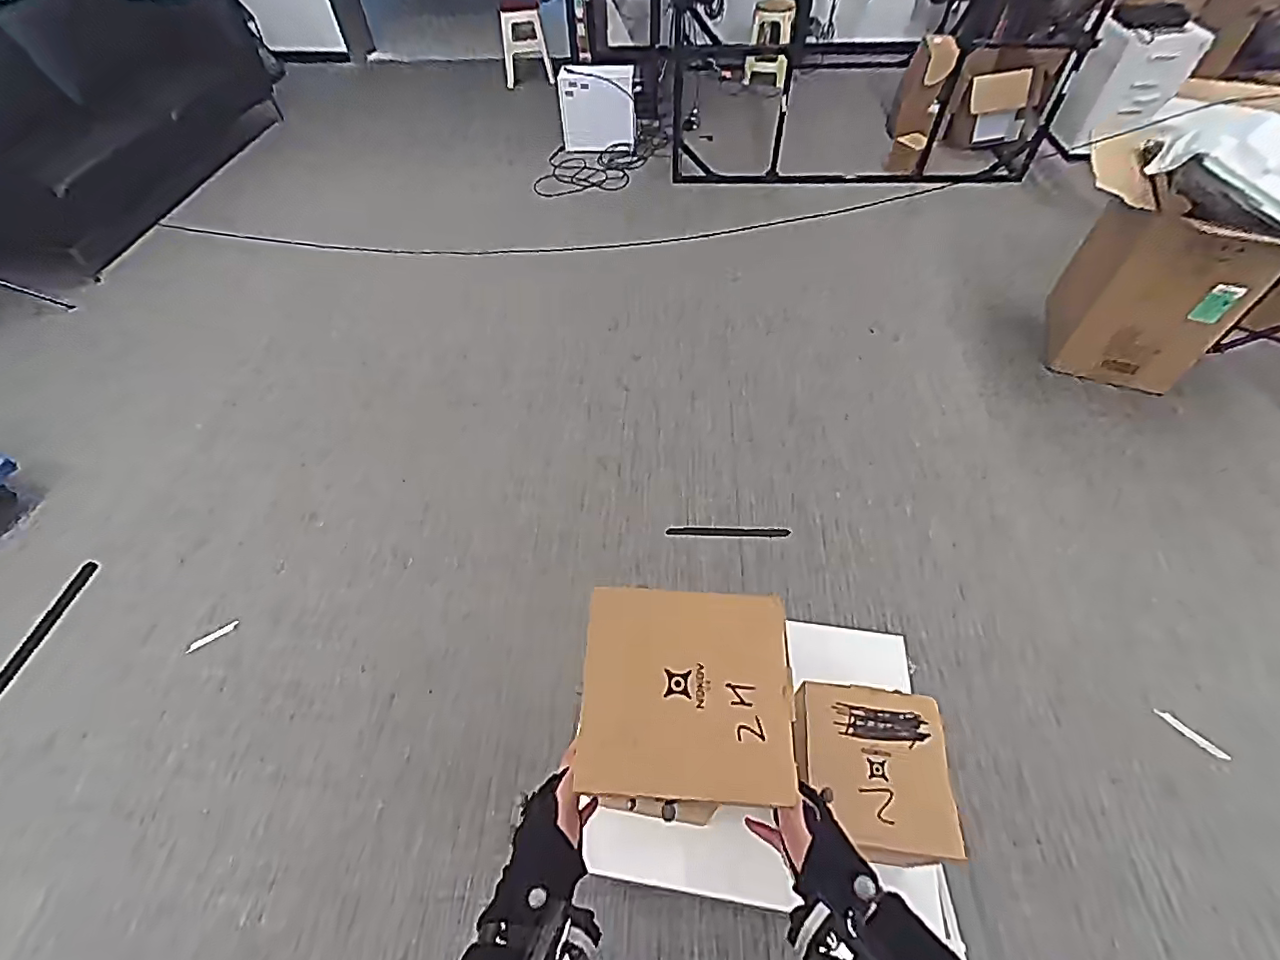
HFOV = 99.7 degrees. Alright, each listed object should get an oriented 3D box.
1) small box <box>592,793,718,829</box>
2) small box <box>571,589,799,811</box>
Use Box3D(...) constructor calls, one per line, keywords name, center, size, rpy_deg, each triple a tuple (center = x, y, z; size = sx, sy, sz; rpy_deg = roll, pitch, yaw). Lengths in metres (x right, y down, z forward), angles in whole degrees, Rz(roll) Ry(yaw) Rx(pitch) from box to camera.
Box3D(name="small box", center=(0.026, 0.352, 0.738), size=(0.168, 0.176, 0.179), rpy_deg=(7, 51, 8))
Box3D(name="small box", center=(0.038, 0.214, 0.516), size=(0.179, 0.176, 0.168), rpy_deg=(4, 60, 1))
